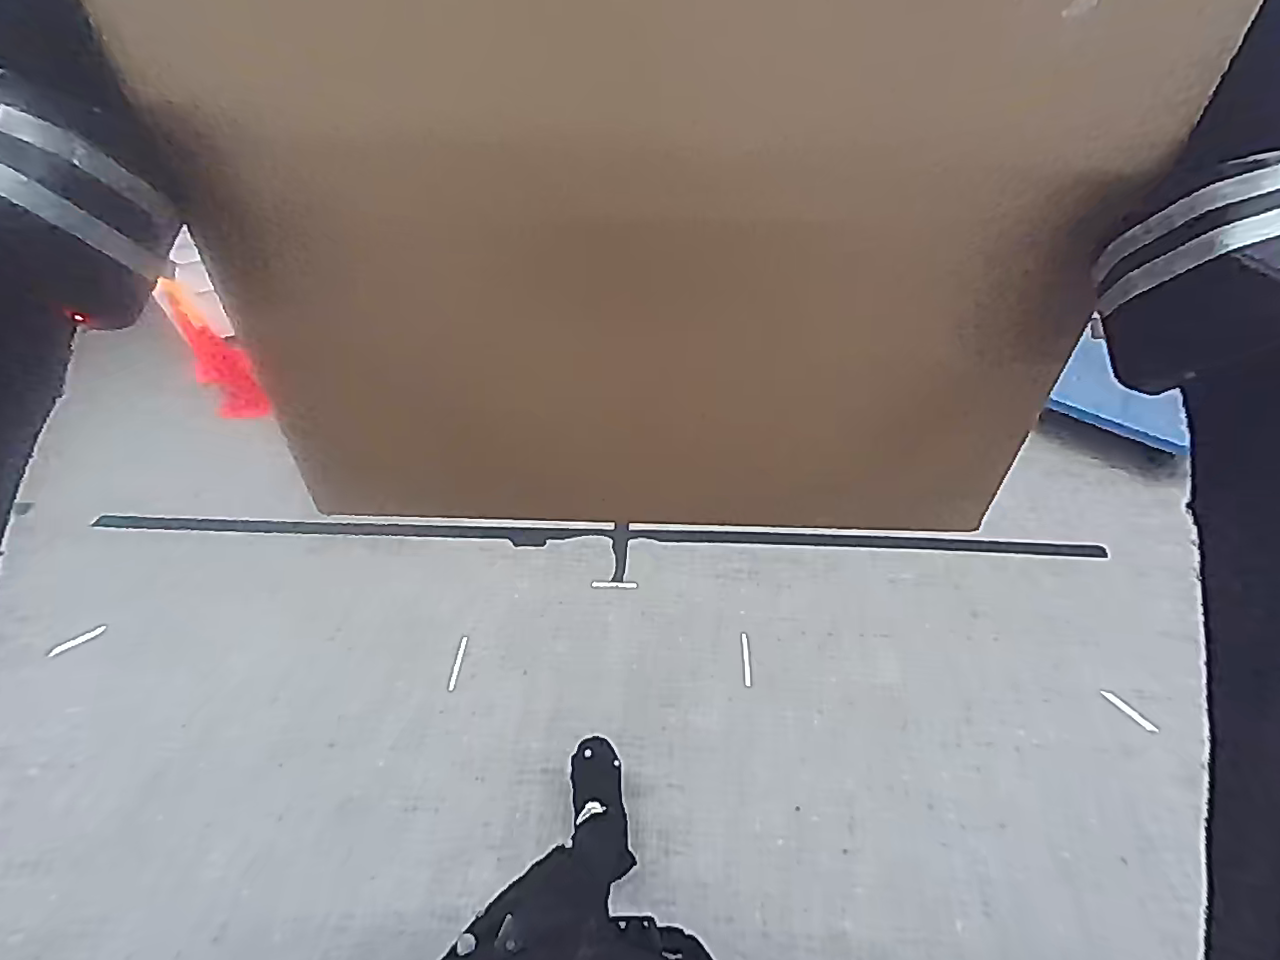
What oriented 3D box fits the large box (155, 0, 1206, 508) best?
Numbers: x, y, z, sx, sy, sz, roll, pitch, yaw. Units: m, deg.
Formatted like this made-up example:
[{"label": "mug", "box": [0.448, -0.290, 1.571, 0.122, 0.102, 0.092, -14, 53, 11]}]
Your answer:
[{"label": "large box", "box": [0.012, -0.193, 0.372, 0.408, 0.320, 0.320, 2, 38, -1]}]
